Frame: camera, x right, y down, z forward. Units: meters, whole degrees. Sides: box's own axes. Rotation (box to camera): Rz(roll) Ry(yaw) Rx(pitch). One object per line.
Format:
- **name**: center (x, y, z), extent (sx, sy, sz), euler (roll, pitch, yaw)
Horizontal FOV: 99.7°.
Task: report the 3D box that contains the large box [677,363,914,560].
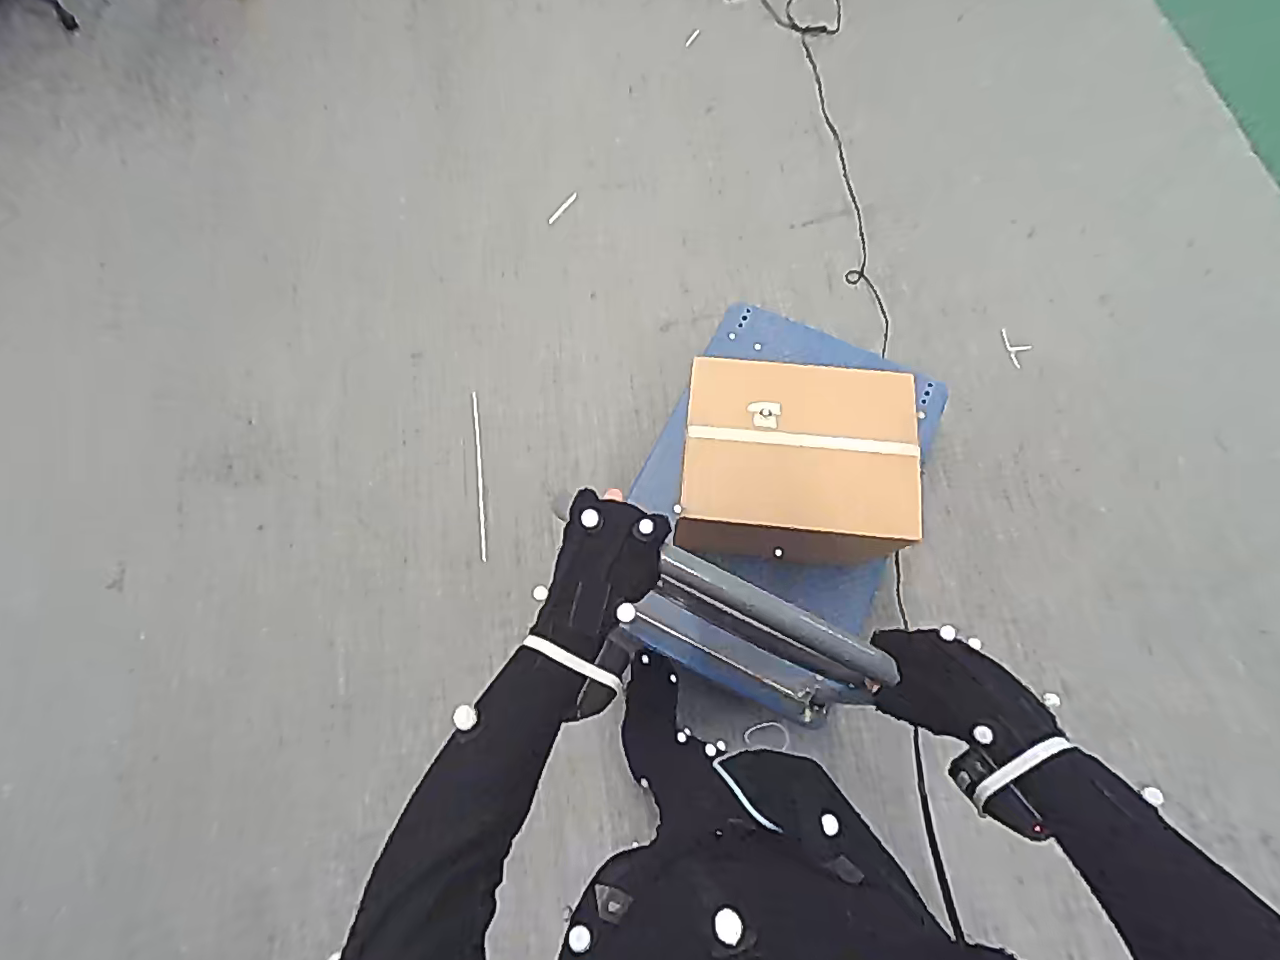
- **large box**: center (0.289, -0.020, 1.110), extent (0.408, 0.320, 0.320), euler (5, 72, 5)
